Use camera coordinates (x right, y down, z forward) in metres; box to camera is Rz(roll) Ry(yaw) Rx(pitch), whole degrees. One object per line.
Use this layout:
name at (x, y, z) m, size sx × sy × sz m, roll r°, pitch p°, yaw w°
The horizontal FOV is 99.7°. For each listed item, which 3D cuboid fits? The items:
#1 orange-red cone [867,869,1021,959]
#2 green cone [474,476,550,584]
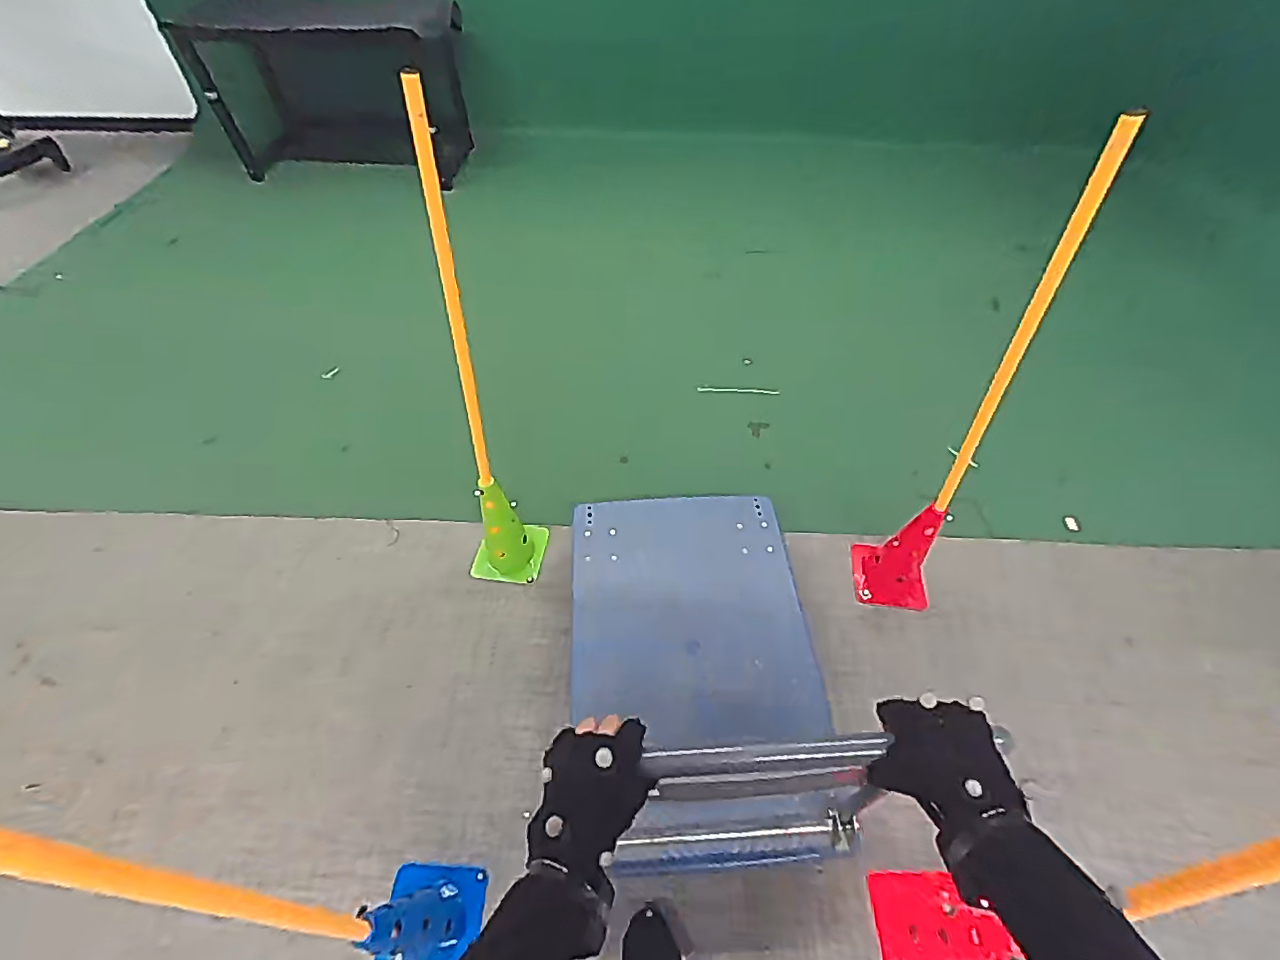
orange-red cone at (0.580, 0.821, 0.982) m, size 0.199 × 0.360 × 0.198 m, roll 1°, pitch 51°, yaw 2°
green cone at (-0.392, 0.115, 1.529) m, size 0.202 × 0.368 × 0.200 m, roll 5°, pitch 51°, yaw 5°
